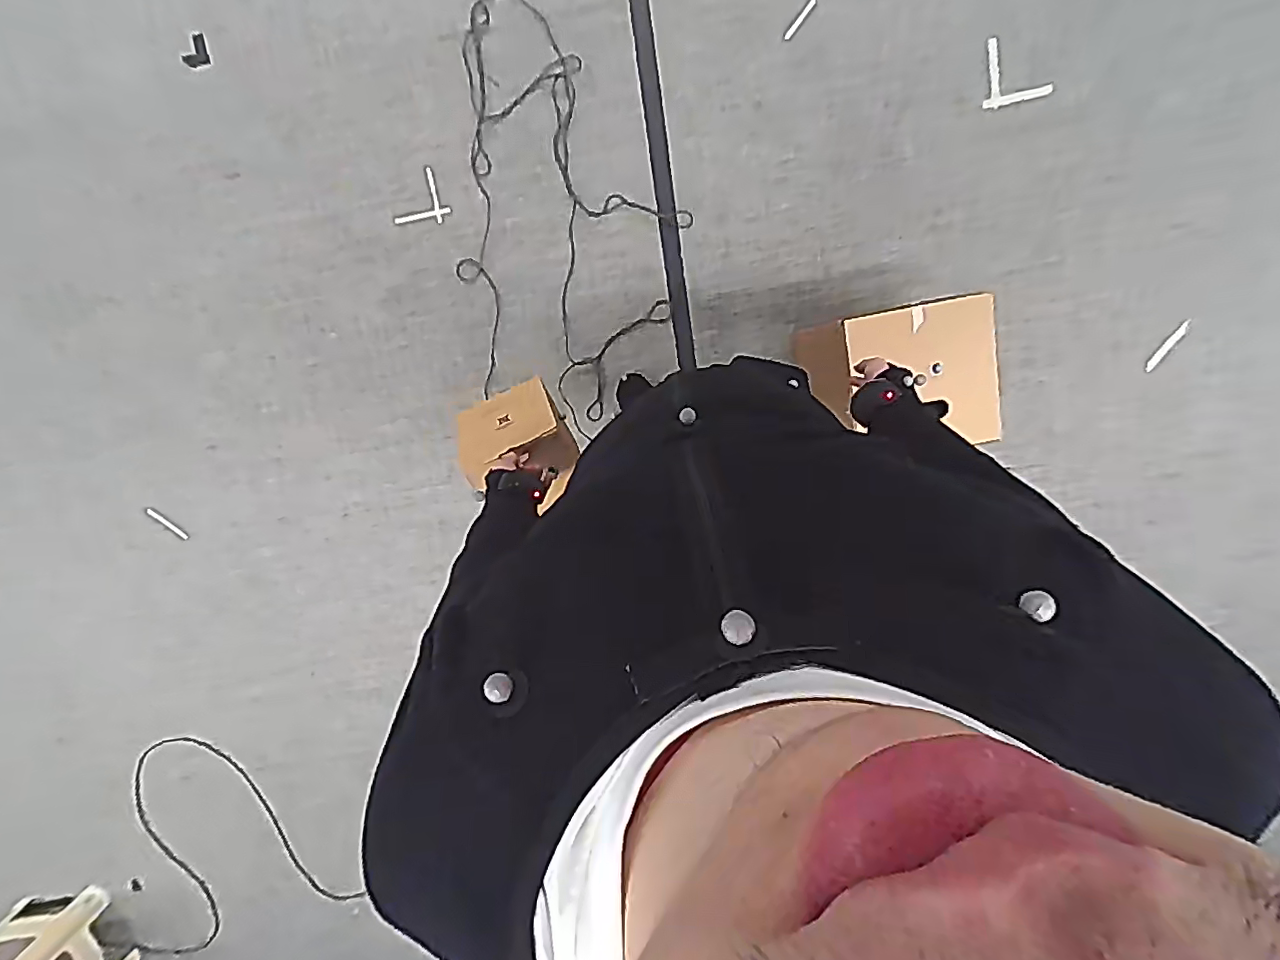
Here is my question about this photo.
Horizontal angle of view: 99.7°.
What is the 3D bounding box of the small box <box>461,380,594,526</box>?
[{"bbox_3d":[-0.199,-0.041,0.967,0.168,0.179,0.176,-26,132,-1],"label":"small box"}]
